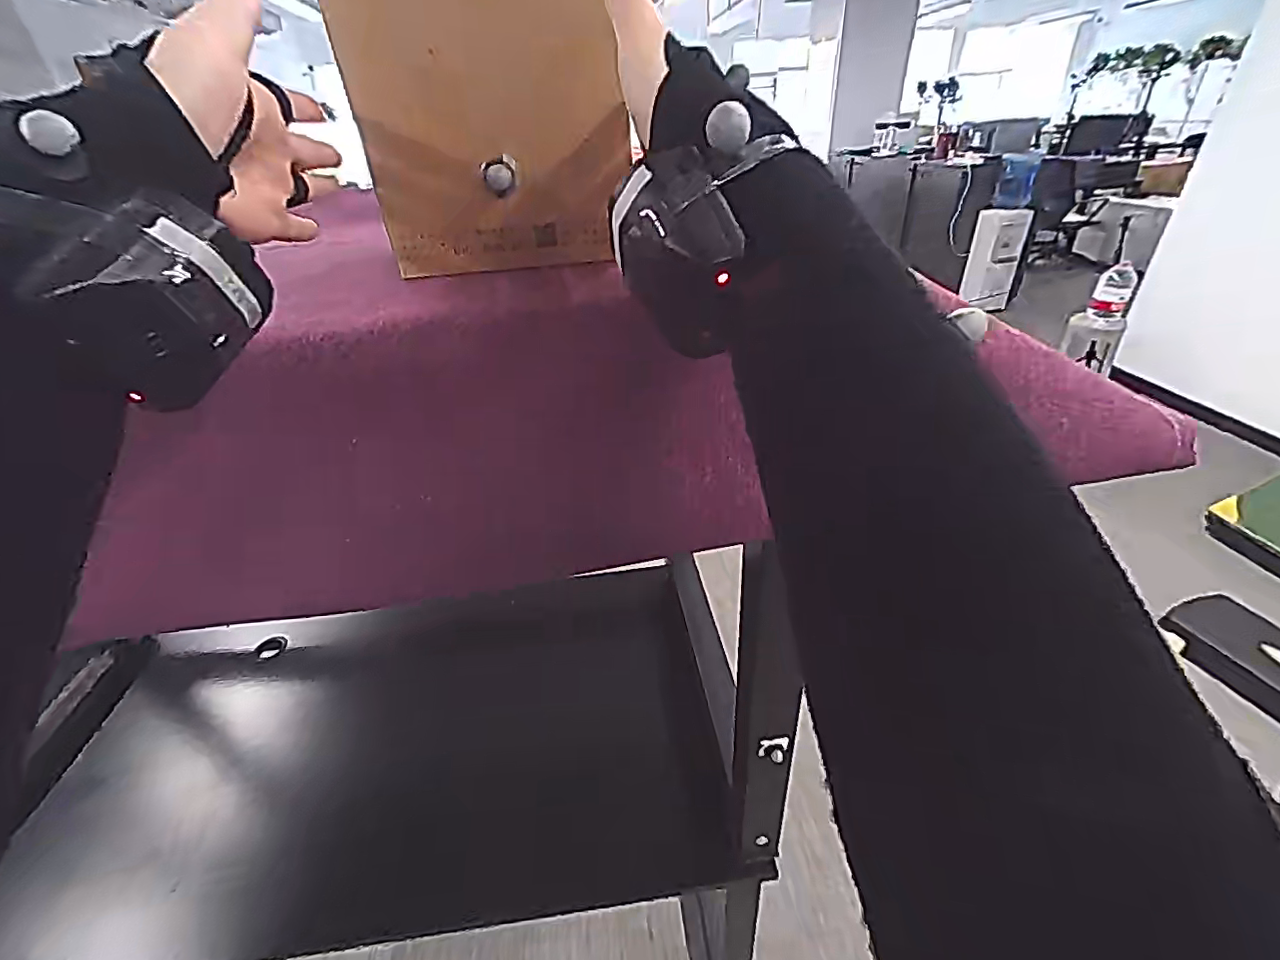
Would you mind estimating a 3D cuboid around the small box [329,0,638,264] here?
[{"bbox_3d":[-0.090,-0.259,0.387,0.168,0.176,0.179,-5,33,0],"label":"small box"}]
